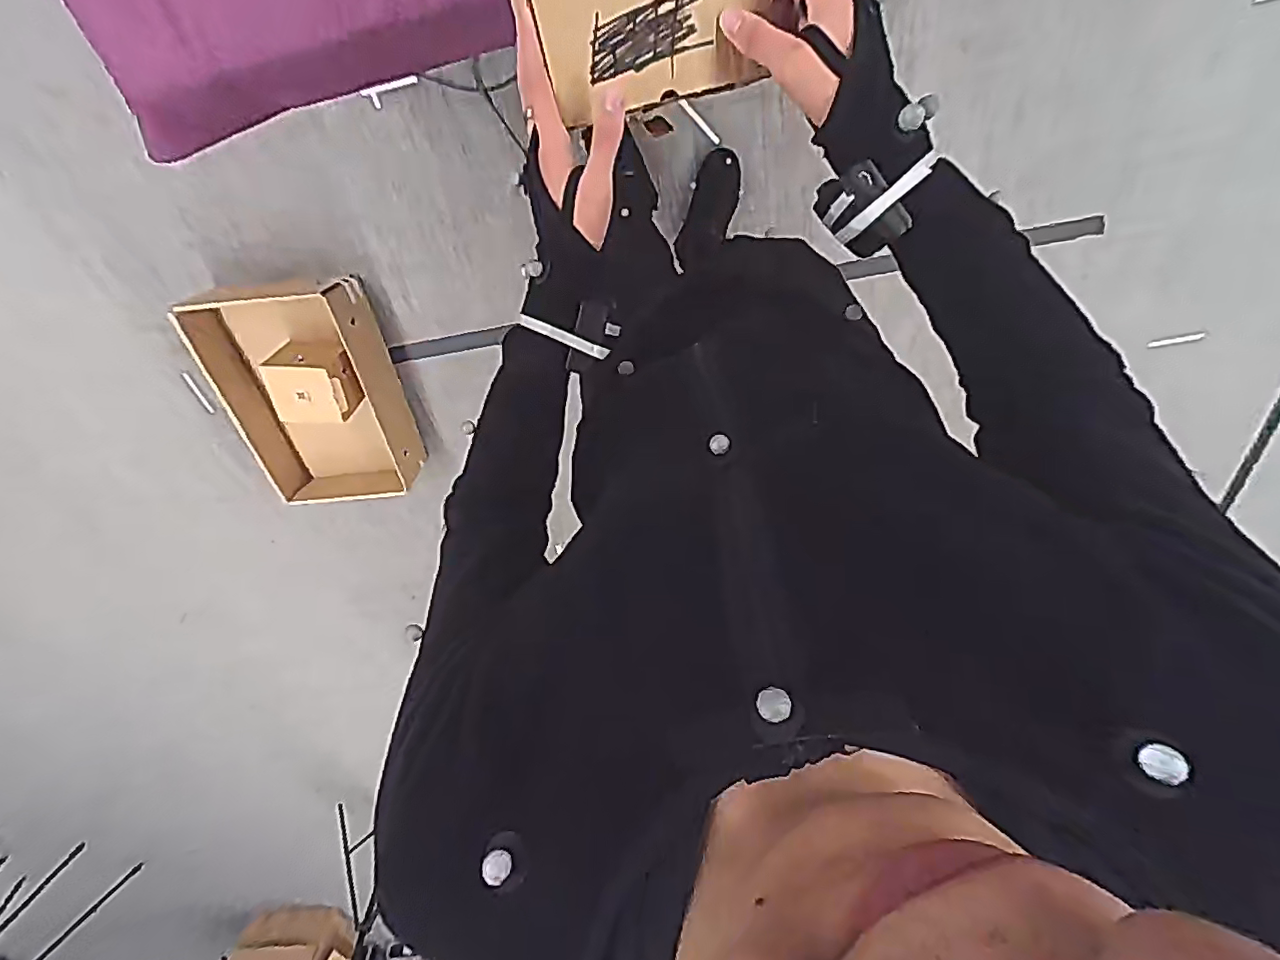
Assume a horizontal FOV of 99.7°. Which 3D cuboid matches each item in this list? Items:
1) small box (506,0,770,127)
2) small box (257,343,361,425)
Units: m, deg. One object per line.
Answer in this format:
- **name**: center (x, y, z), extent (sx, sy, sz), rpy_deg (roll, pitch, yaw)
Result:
- **small box**: center (-0.016, -0.384, 0.396), extent (0.168, 0.176, 0.179), rpy_deg (-17, 128, -4)
- **small box**: center (-0.889, -0.265, 1.477), extent (0.179, 0.176, 0.168), rpy_deg (1, 126, -3)
